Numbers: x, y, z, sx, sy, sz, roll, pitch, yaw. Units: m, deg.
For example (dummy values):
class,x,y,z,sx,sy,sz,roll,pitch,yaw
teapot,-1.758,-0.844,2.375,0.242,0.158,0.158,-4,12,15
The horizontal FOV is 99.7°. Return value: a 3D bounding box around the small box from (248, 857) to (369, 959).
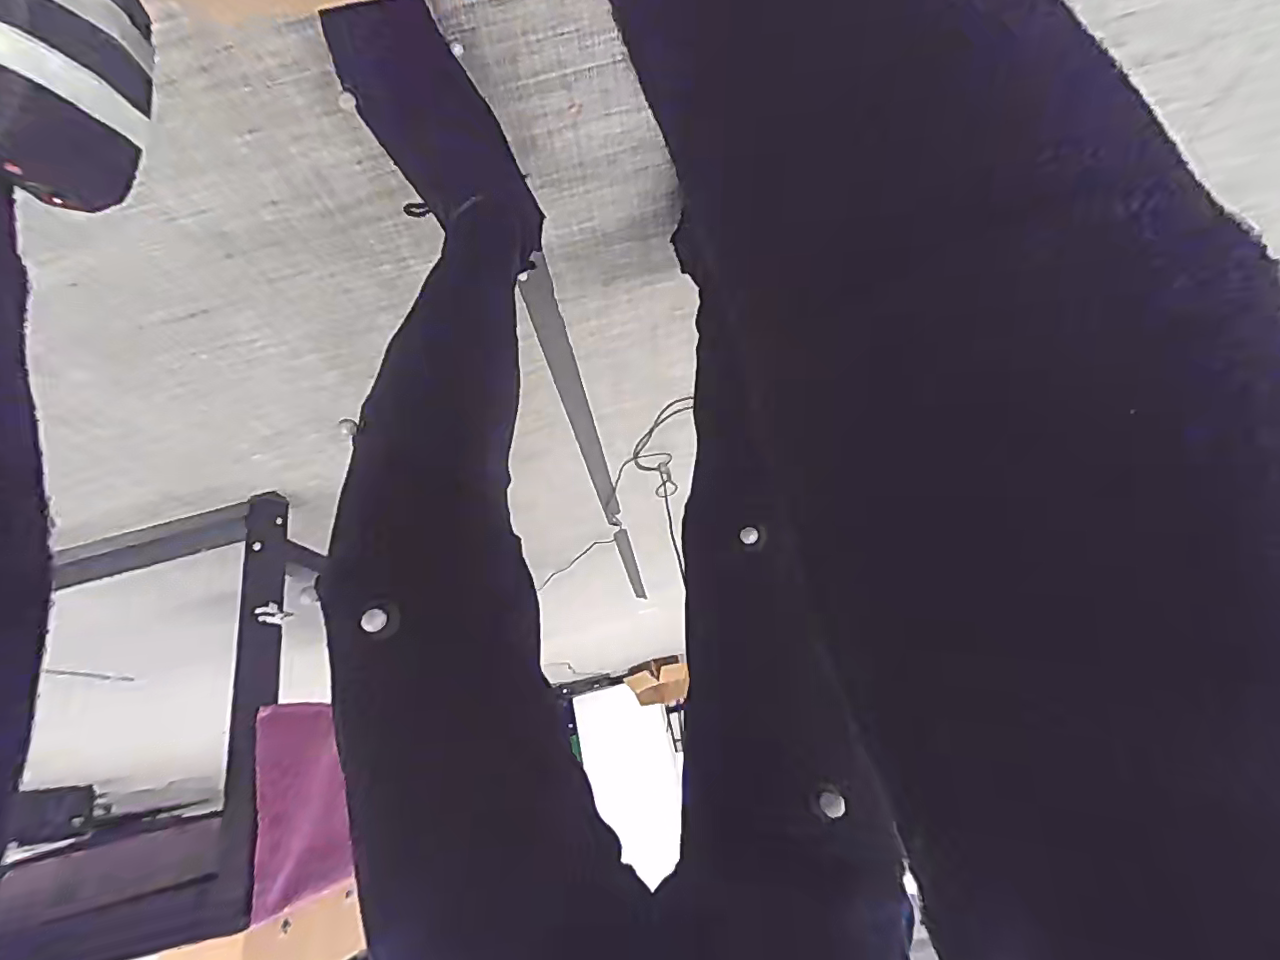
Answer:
class,x,y,z,sx,sy,sz,roll,pitch,yaw
small box,-0.743,0.983,1.227,0.179,0.176,0.168,-17,155,4
